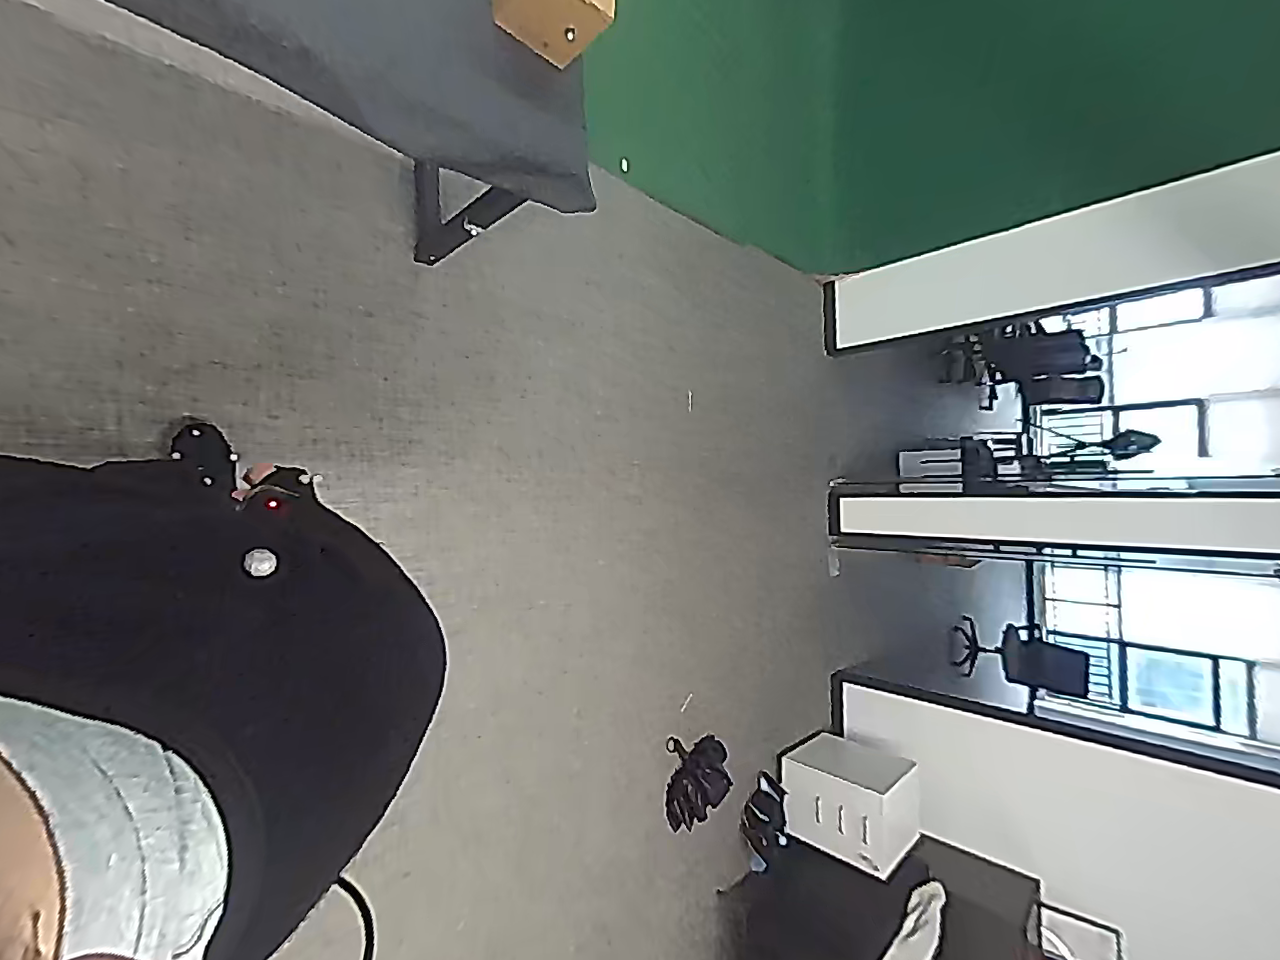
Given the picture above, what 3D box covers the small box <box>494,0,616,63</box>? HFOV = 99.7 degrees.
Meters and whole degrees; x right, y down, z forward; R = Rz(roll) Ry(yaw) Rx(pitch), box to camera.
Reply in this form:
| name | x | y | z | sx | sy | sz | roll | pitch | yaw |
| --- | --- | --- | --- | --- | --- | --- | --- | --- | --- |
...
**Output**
| name | x | y | z | sx | sy | sz | roll | pitch | yaw |
| --- | --- | --- | --- | --- | --- | --- | --- | --- | --- |
| small box | -0.160 | -0.941 | 1.007 | 0.168 | 0.176 | 0.179 | 2 | 86 | -46 |
